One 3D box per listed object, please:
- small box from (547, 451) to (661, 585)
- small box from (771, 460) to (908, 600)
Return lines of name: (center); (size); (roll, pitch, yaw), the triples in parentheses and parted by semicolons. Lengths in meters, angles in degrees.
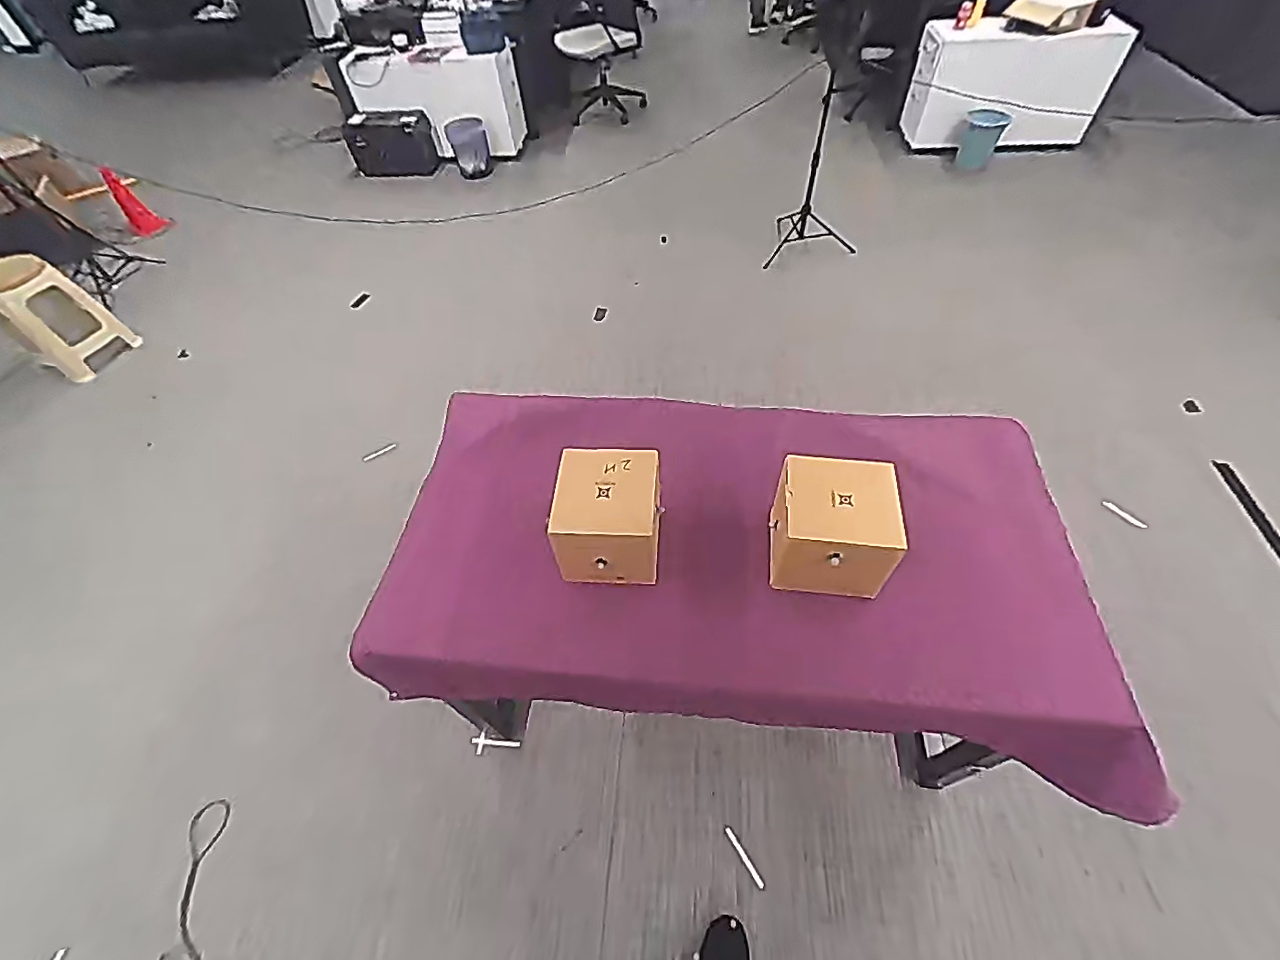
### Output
small box: (-0.051, 0.069, 0.940); (0.168, 0.176, 0.179); (2, 52, 5)
small box: (0.322, 0.088, 0.905); (0.179, 0.176, 0.168); (5, 53, 8)
